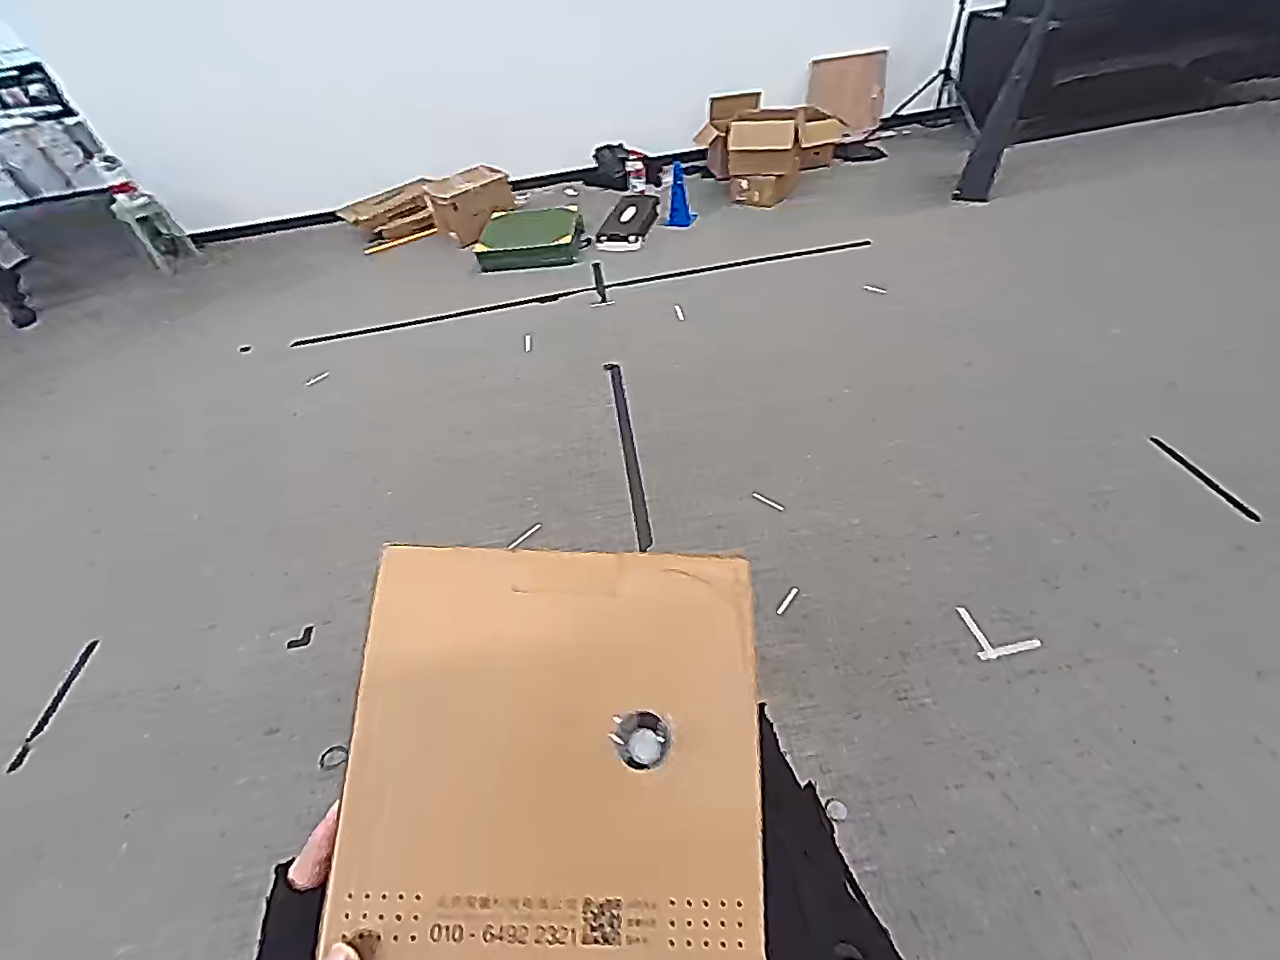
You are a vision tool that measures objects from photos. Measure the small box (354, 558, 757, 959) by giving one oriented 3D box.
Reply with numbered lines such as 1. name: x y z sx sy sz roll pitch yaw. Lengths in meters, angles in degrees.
1. small box: -0.033 0.138 0.300 0.168 0.179 0.176 1 74 1
